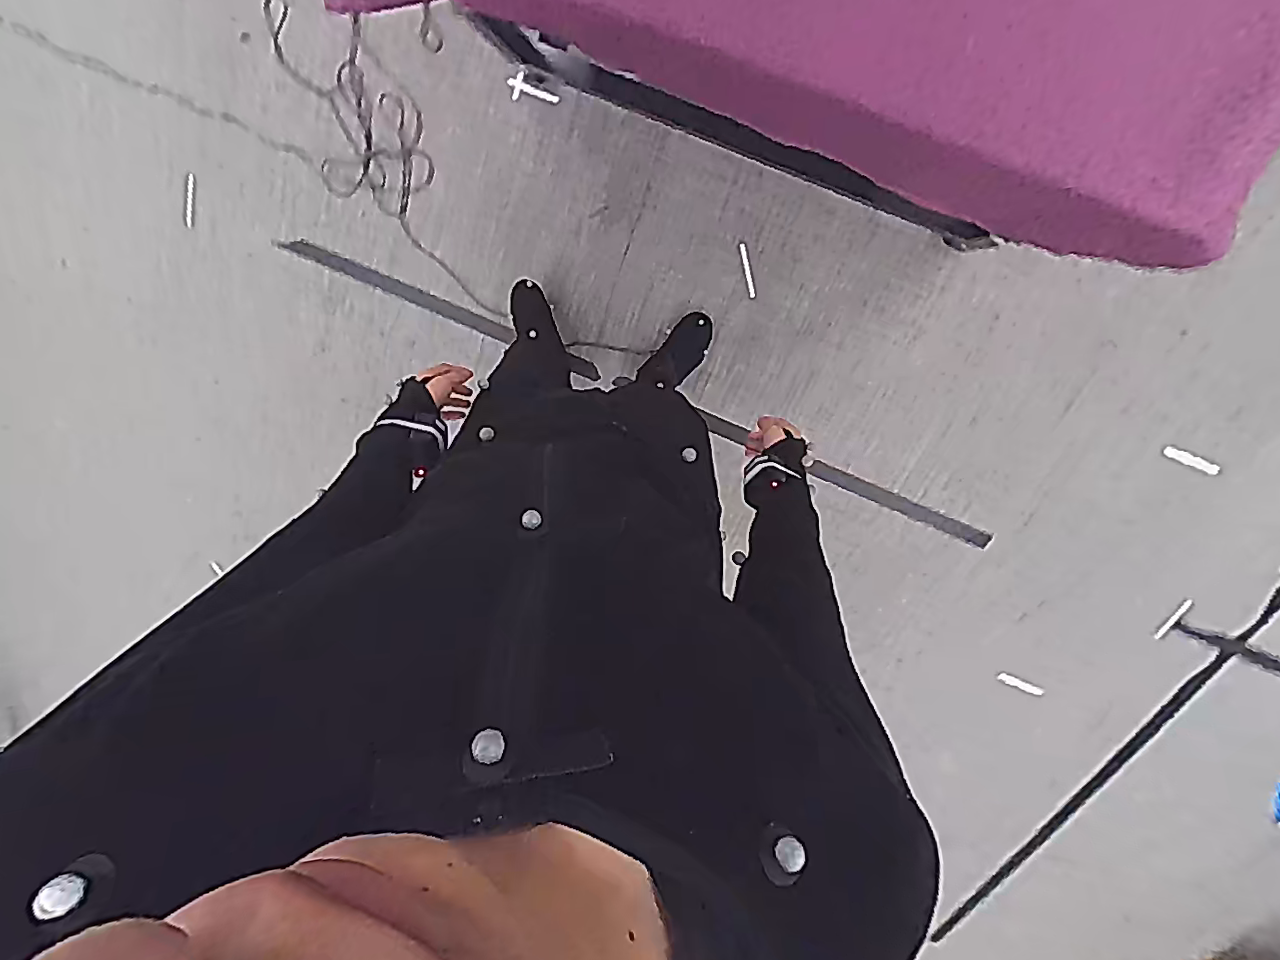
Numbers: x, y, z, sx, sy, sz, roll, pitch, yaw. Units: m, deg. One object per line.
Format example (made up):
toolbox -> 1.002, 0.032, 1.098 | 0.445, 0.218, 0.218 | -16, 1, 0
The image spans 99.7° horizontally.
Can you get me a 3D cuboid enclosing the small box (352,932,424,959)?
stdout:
small box -> -0.670, 1.295, 1.363 | 0.168, 0.176, 0.179 | 21, 113, 1
